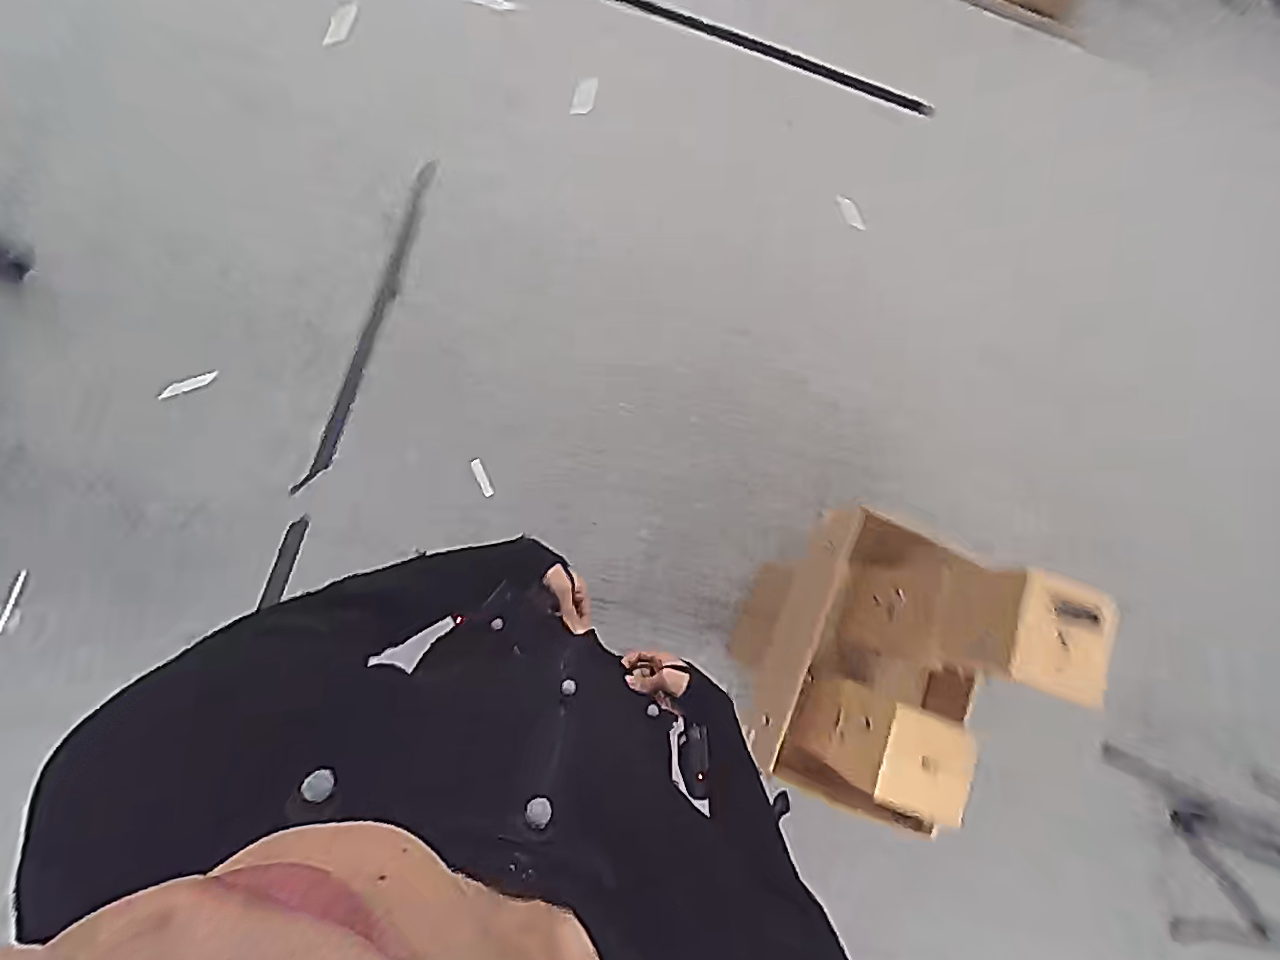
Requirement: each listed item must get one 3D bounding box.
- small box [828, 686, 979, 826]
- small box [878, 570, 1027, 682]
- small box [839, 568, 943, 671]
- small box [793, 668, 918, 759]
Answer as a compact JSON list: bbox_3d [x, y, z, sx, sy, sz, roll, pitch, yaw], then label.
[{"bbox_3d":[0.492,0.512,1.032,0.179,0.176,0.168,23,80,-6],"label":"small box"},{"bbox_3d":[0.616,0.281,1.079,0.179,0.176,0.168,20,79,-6],"label":"small box"},{"bbox_3d":[0.585,0.309,1.239,0.168,0.176,0.179,22,81,-5],"label":"small box"},{"bbox_3d":[0.465,0.530,1.192,0.179,0.176,0.168,23,80,-6],"label":"small box"}]
